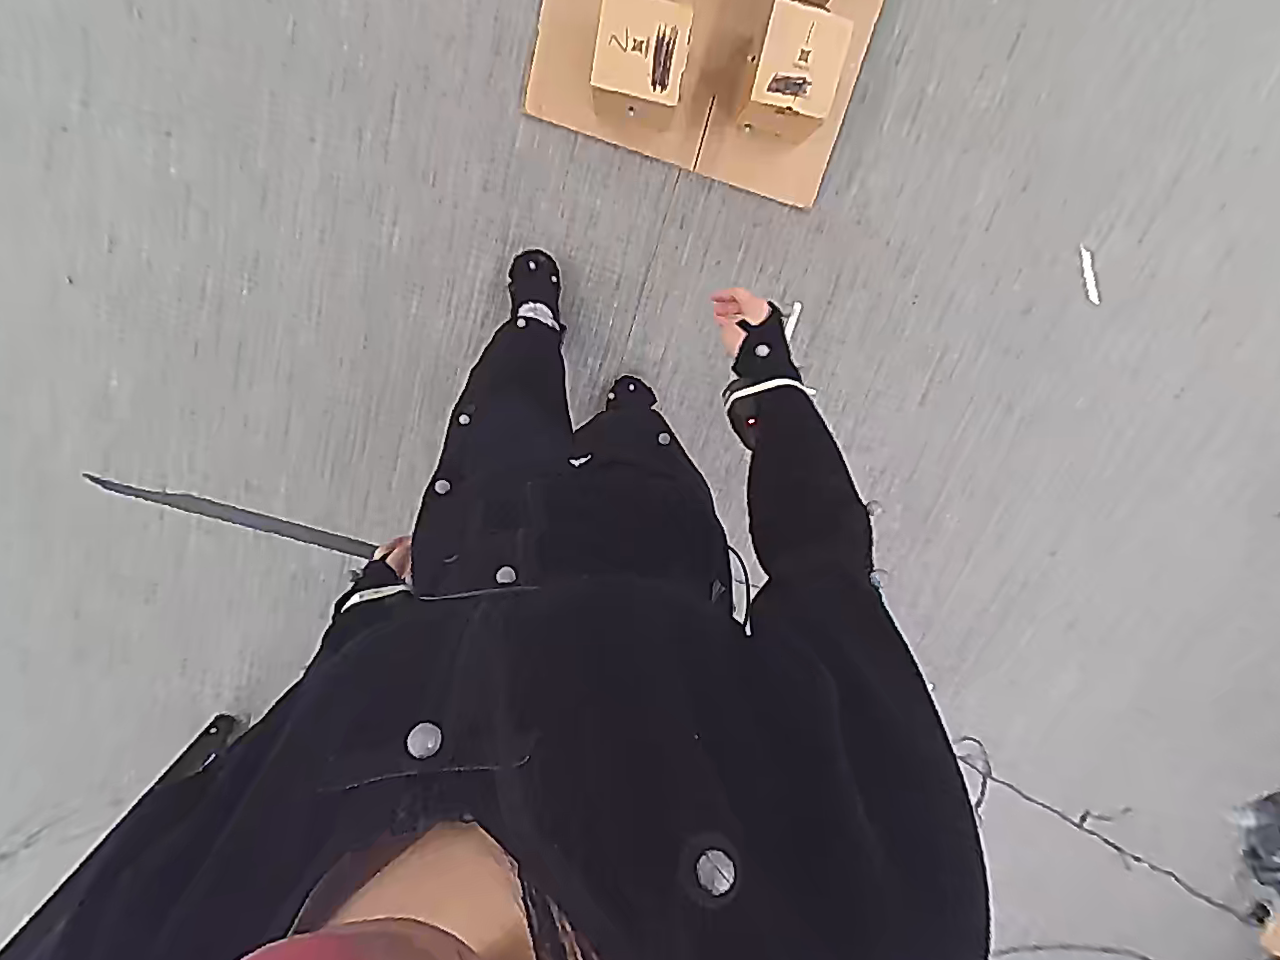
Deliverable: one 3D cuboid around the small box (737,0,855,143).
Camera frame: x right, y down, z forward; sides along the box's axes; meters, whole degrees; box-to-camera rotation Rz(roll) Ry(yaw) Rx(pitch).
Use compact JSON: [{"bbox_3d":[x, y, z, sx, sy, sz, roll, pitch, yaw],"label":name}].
[{"bbox_3d":[0.311,-0.835,1.126,0.168,0.176,0.179,11,107,-7],"label":"small box"}]
